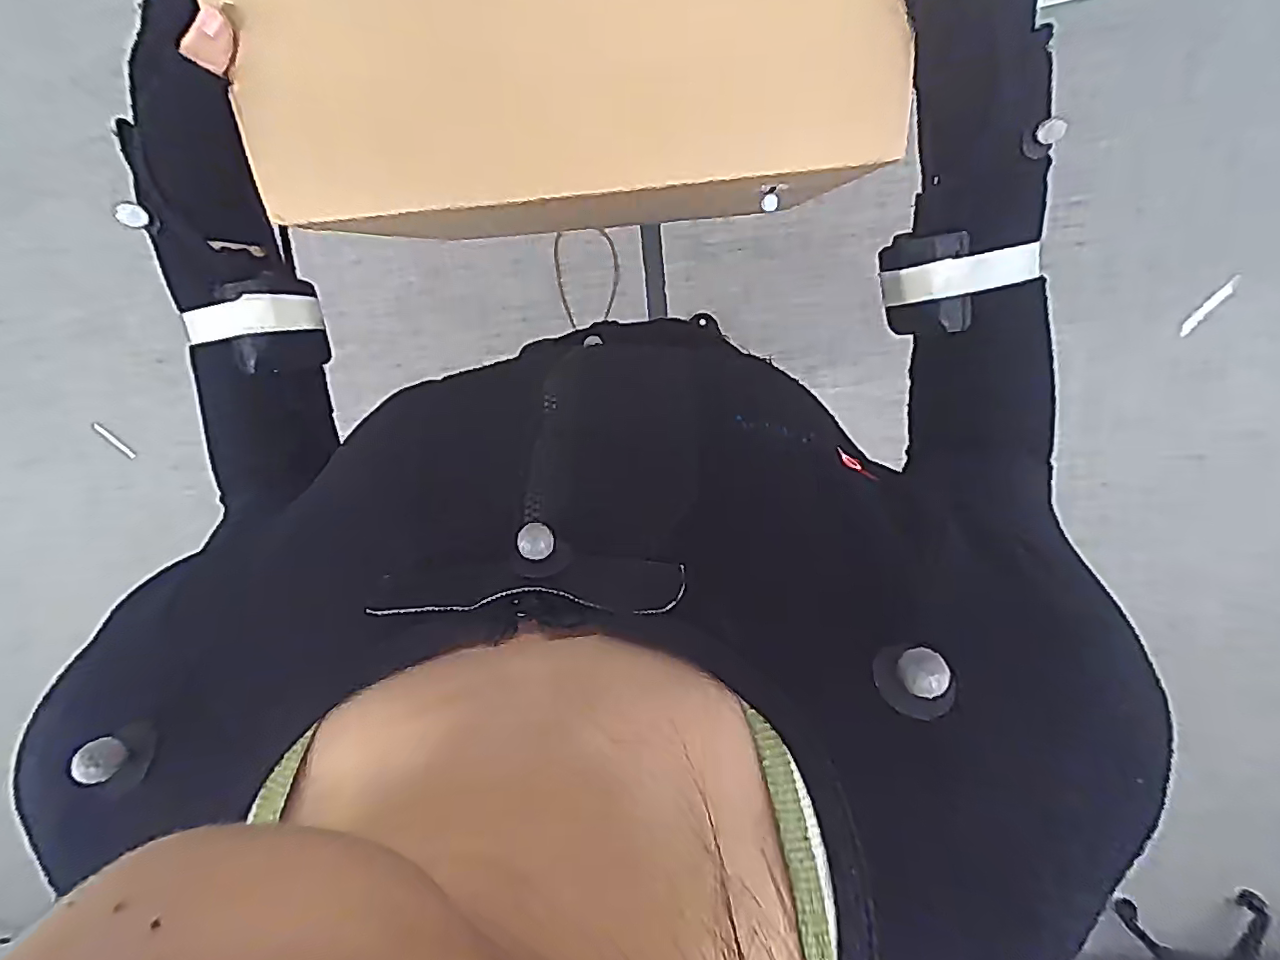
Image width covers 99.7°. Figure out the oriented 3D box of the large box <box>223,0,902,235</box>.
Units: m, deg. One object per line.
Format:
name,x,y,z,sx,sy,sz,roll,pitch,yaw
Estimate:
large box,-0.046,-0.387,0.434,0.408,0.320,0.320,-4,112,4
